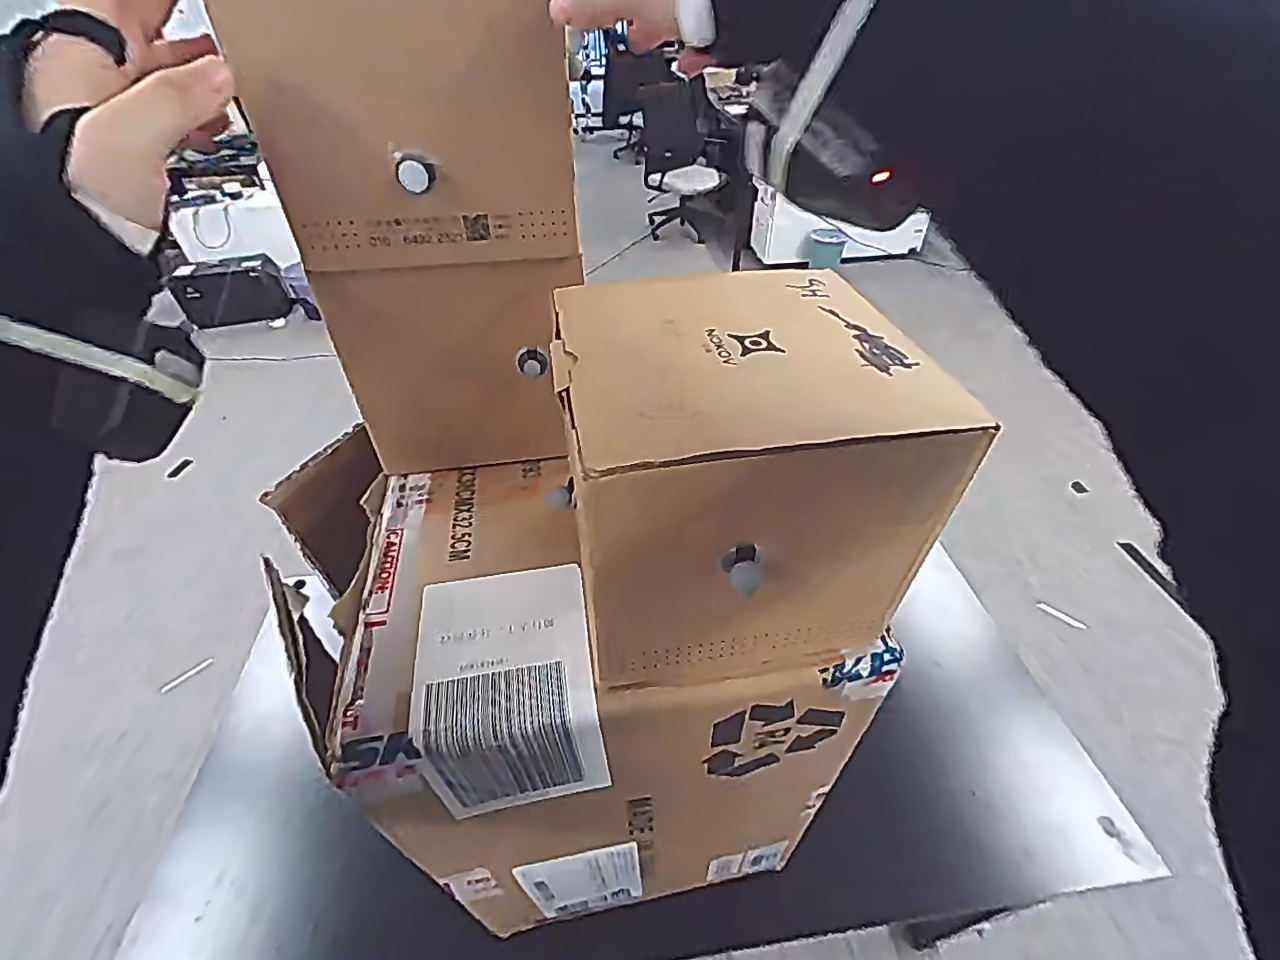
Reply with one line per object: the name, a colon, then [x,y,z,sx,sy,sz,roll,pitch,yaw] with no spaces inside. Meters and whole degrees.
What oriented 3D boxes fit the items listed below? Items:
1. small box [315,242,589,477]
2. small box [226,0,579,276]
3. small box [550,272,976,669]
small box: [-0.134,-0.122,0.464,0.179,0.176,0.168,-8,39,-7]
small box: [-0.132,-0.245,0.354,0.168,0.176,0.179,-7,40,-7]
small box: [0.048,-0.006,0.330,0.179,0.176,0.168,-8,45,-7]
